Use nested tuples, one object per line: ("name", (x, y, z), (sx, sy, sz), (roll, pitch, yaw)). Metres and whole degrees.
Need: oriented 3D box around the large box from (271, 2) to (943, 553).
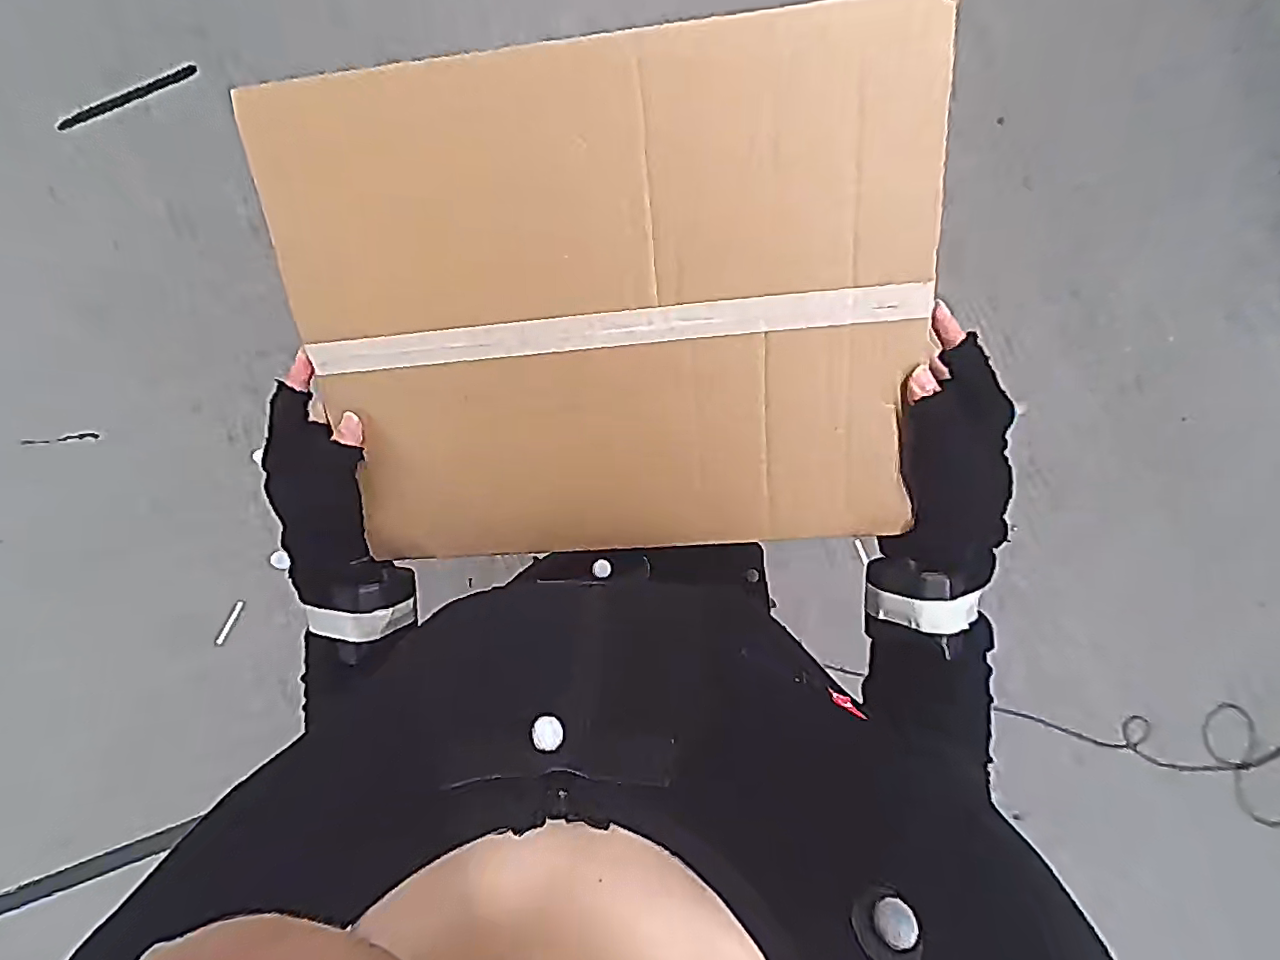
("large box", (-0.009, -0.149, 0.498), (0.408, 0.320, 0.320), (-3, 111, 6))
